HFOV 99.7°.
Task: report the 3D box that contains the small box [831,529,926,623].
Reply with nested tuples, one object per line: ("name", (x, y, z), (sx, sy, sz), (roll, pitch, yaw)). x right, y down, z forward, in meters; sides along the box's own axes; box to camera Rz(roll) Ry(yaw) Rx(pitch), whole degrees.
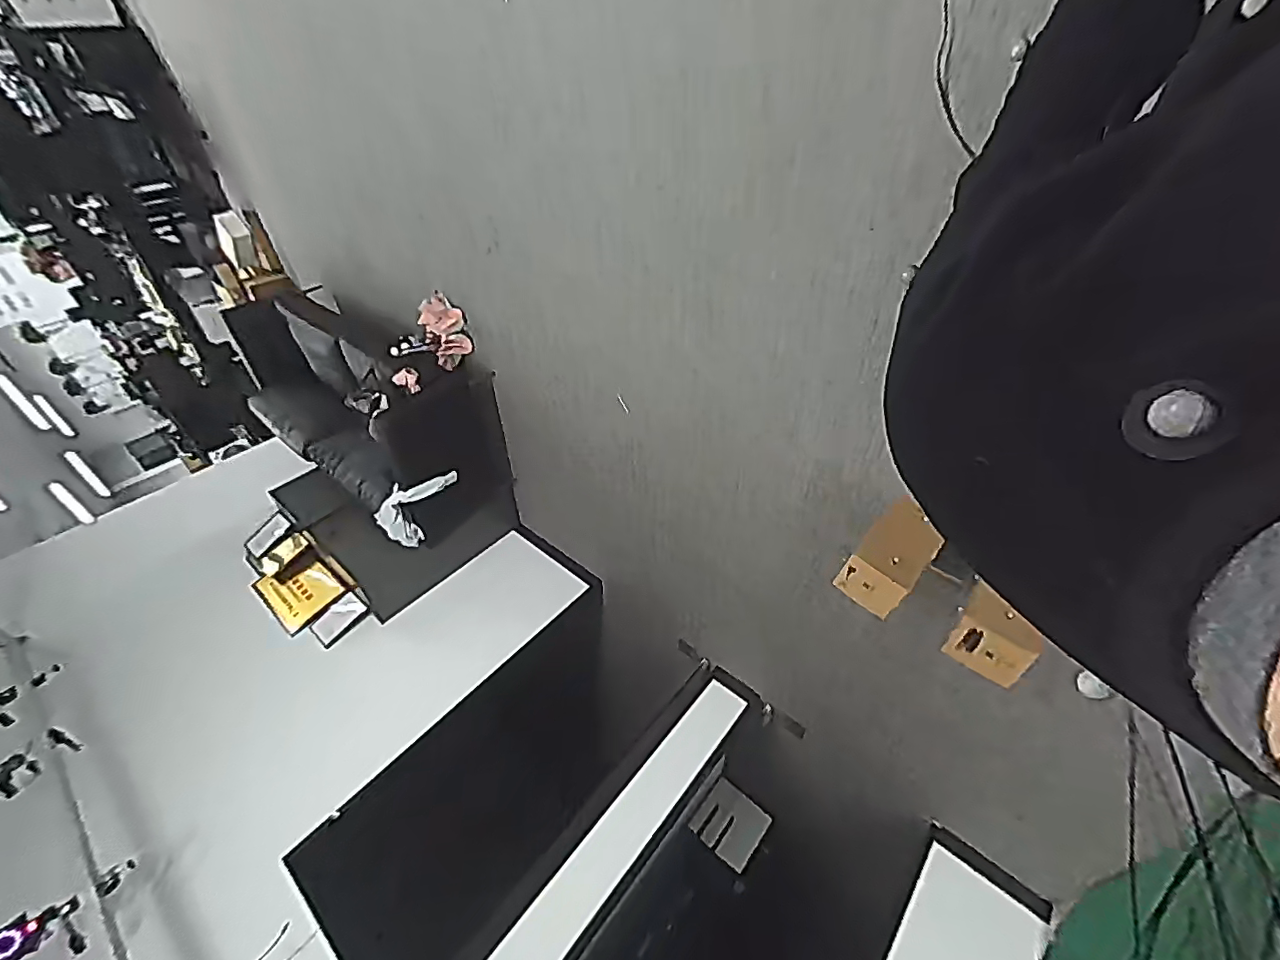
("small box", (0.706, 0.278, 1.594), (0.179, 0.176, 0.168), (36, 141, 21))

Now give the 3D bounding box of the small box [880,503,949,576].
("small box", (0.825, 0.207, 1.685), (0.168, 0.176, 0.179), (36, 141, 22))
